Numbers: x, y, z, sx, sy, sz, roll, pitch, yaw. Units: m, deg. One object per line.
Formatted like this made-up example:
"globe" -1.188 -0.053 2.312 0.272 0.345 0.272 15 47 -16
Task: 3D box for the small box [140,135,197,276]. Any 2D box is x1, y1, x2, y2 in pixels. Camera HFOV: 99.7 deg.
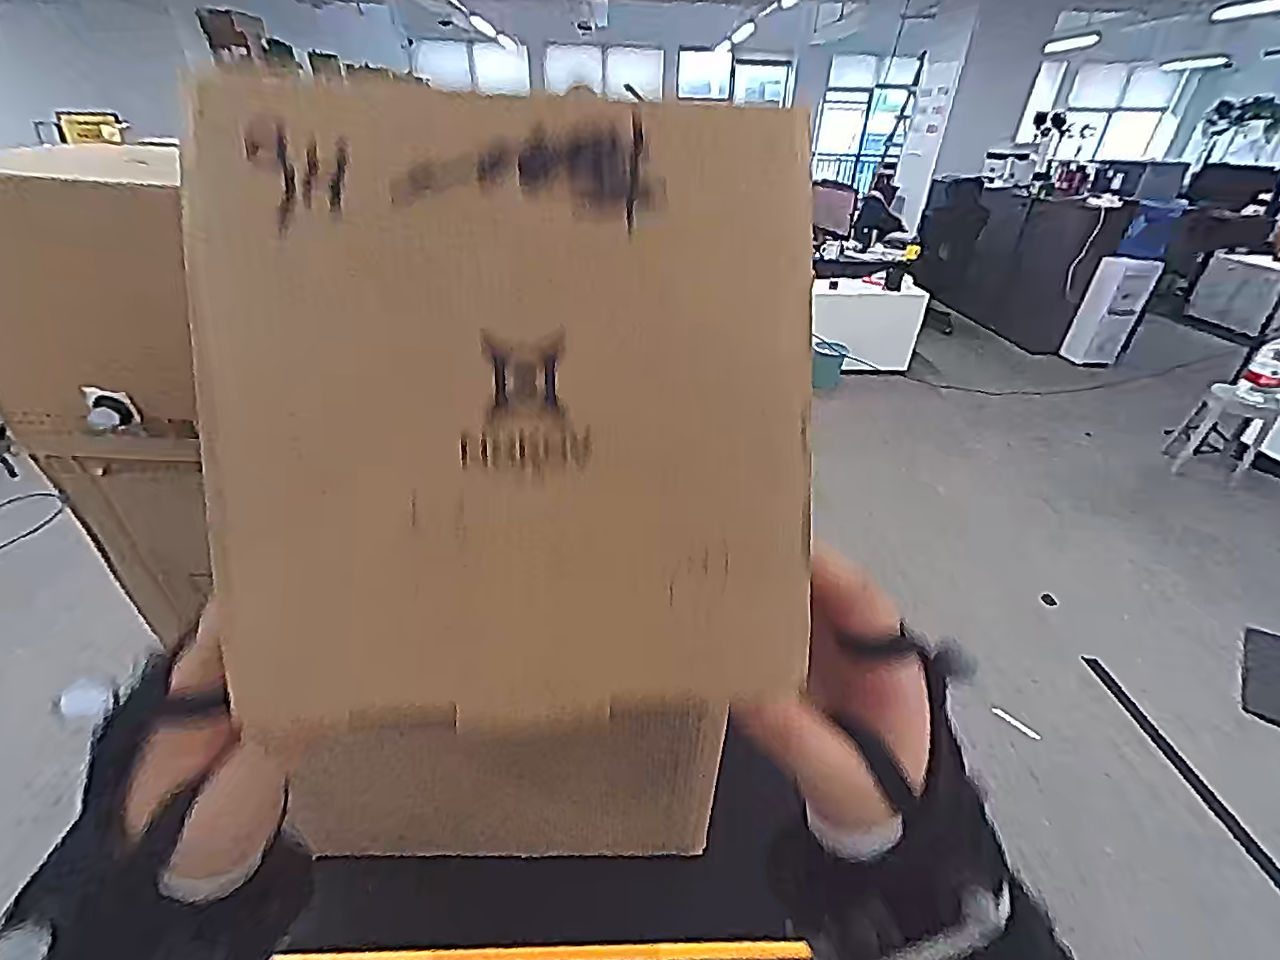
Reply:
"small box" -0.334 -0.247 0.554 0.168 0.176 0.179 -1 31 -4

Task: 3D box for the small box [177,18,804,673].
"small box" -0.042 -0.040 0.231 0.168 0.179 0.176 -2 5 -6
